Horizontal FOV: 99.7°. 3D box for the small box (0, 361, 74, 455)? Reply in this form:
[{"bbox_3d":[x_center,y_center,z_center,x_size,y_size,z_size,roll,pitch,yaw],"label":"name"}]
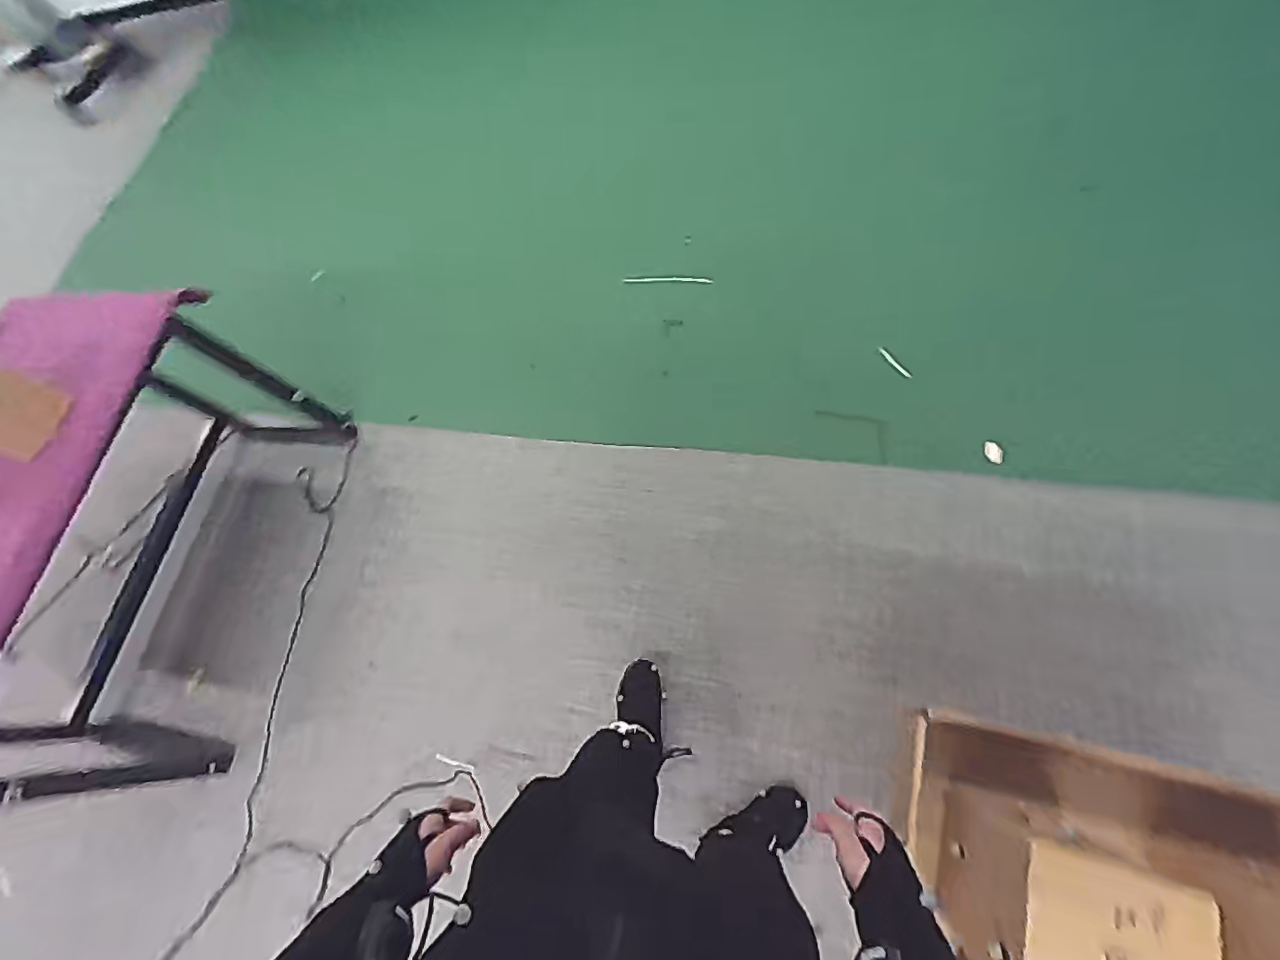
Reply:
[{"bbox_3d":[-1.455,-0.175,1.216,0.168,0.176,0.179,16,73,20],"label":"small box"}]

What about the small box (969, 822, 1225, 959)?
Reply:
[{"bbox_3d":[0.493,0.524,0.609,0.168,0.176,0.179,13,72,17],"label":"small box"}]

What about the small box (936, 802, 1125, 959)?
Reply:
[{"bbox_3d":[0.534,0.581,0.758,0.168,0.176,0.179,11,72,17],"label":"small box"}]
